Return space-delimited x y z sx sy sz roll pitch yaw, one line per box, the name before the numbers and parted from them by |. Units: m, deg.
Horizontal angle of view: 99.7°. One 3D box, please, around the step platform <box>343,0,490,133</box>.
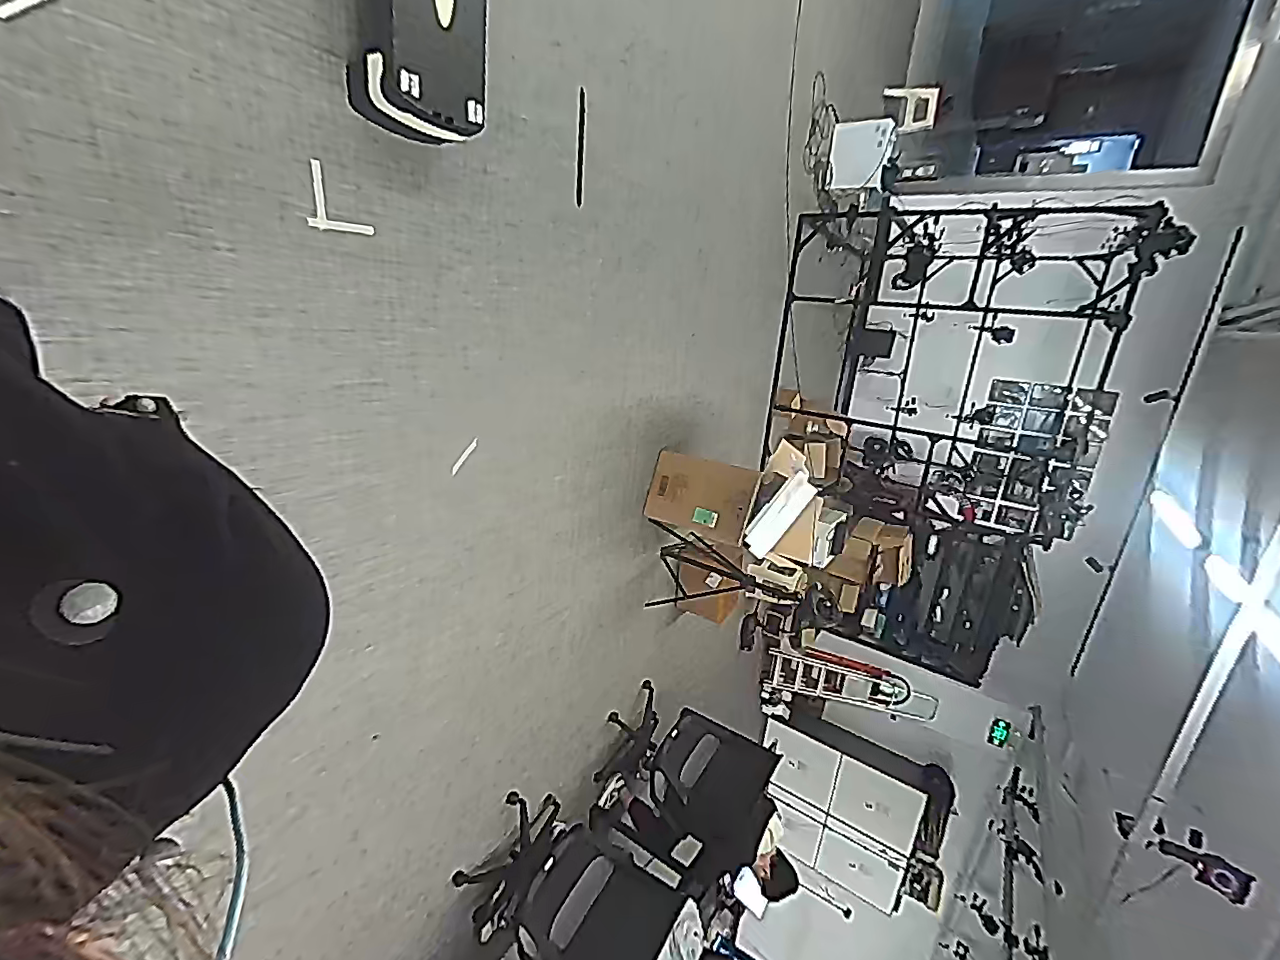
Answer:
step platform | -0.532 -1.275 1.332 0.286 0.204 0.684 -9 110 -56
